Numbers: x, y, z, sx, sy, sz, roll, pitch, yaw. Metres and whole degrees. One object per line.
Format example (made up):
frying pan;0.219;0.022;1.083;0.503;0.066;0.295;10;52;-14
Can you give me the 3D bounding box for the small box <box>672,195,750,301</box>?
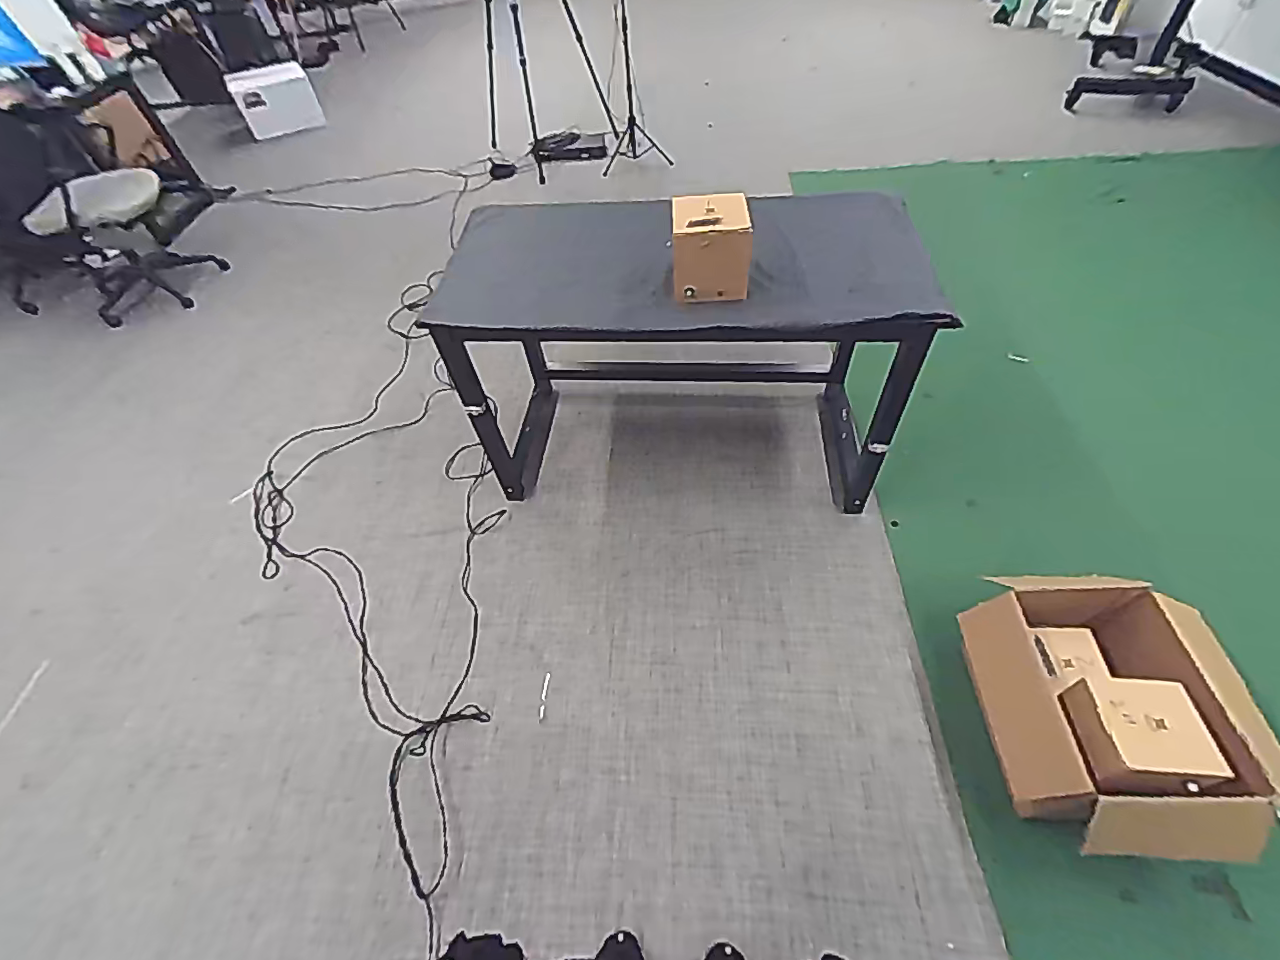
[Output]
small box;0.159;-0.527;1.244;0.168;0.176;0.179;-1;50;4
